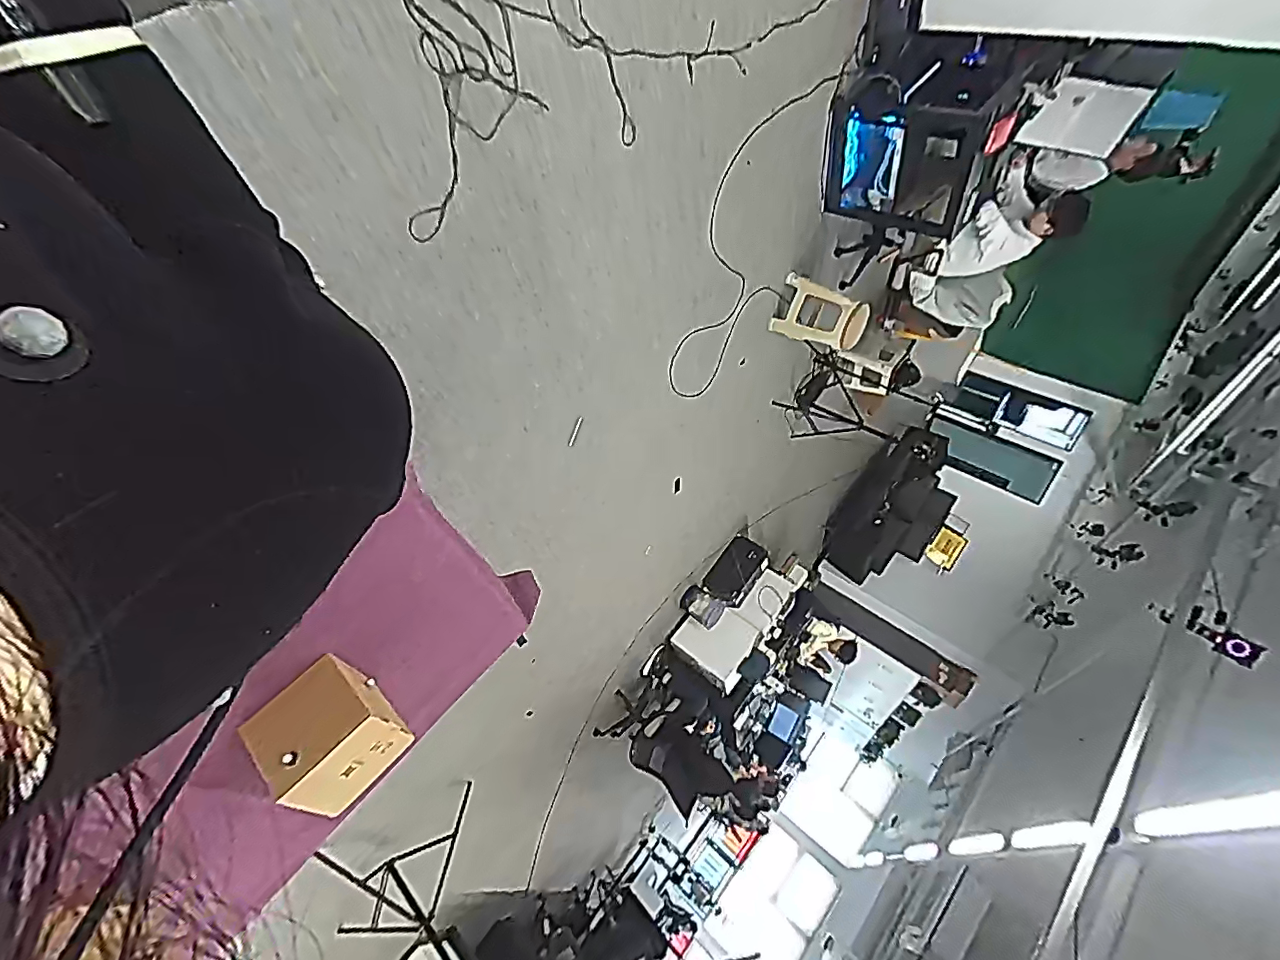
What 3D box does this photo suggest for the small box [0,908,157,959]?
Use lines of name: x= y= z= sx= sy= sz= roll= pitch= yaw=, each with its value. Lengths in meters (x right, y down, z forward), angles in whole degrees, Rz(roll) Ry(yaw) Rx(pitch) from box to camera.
small box: x=-0.861 y=0.778 z=0.800 sx=0.168 sy=0.176 sz=0.179 roll=-45 pitch=147 yaw=-24

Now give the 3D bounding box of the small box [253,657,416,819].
small box: x=-0.550 y=0.459 z=0.970 sx=0.179 sy=0.176 sz=0.168 roll=-44 pitch=148 yaw=-24
